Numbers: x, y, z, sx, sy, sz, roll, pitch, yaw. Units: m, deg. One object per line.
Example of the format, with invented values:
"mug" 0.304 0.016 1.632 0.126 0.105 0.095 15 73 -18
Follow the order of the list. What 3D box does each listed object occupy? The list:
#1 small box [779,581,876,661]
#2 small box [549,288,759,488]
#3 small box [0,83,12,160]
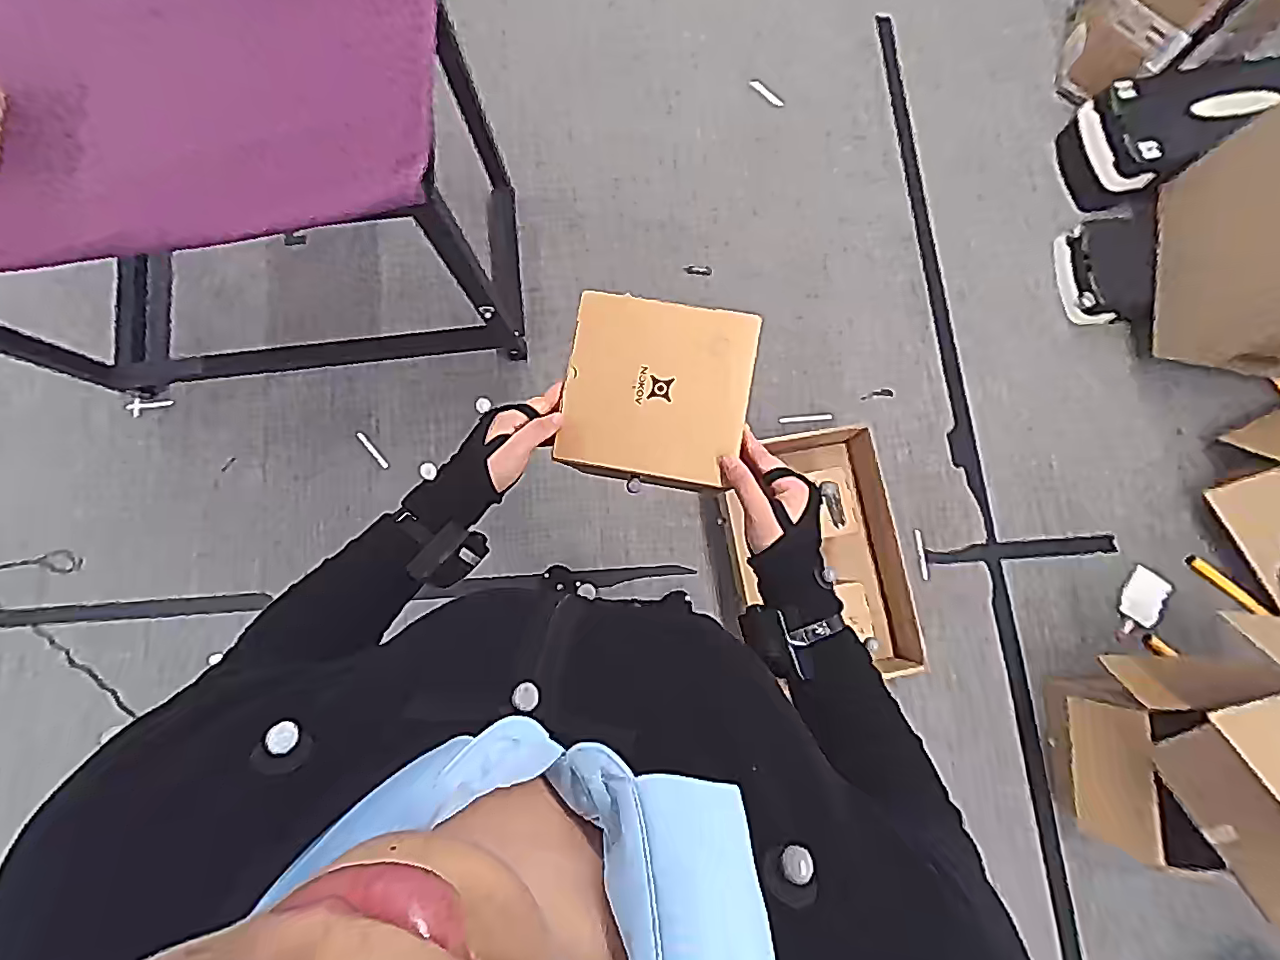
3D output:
"small box" 0.457 0.346 1.352 0.179 0.176 0.168 -8 81 -1
"small box" 0.018 -0.085 0.584 0.179 0.176 0.168 9 88 5
"small box" -1.182 -0.614 0.855 0.179 0.176 0.168 -5 81 0
